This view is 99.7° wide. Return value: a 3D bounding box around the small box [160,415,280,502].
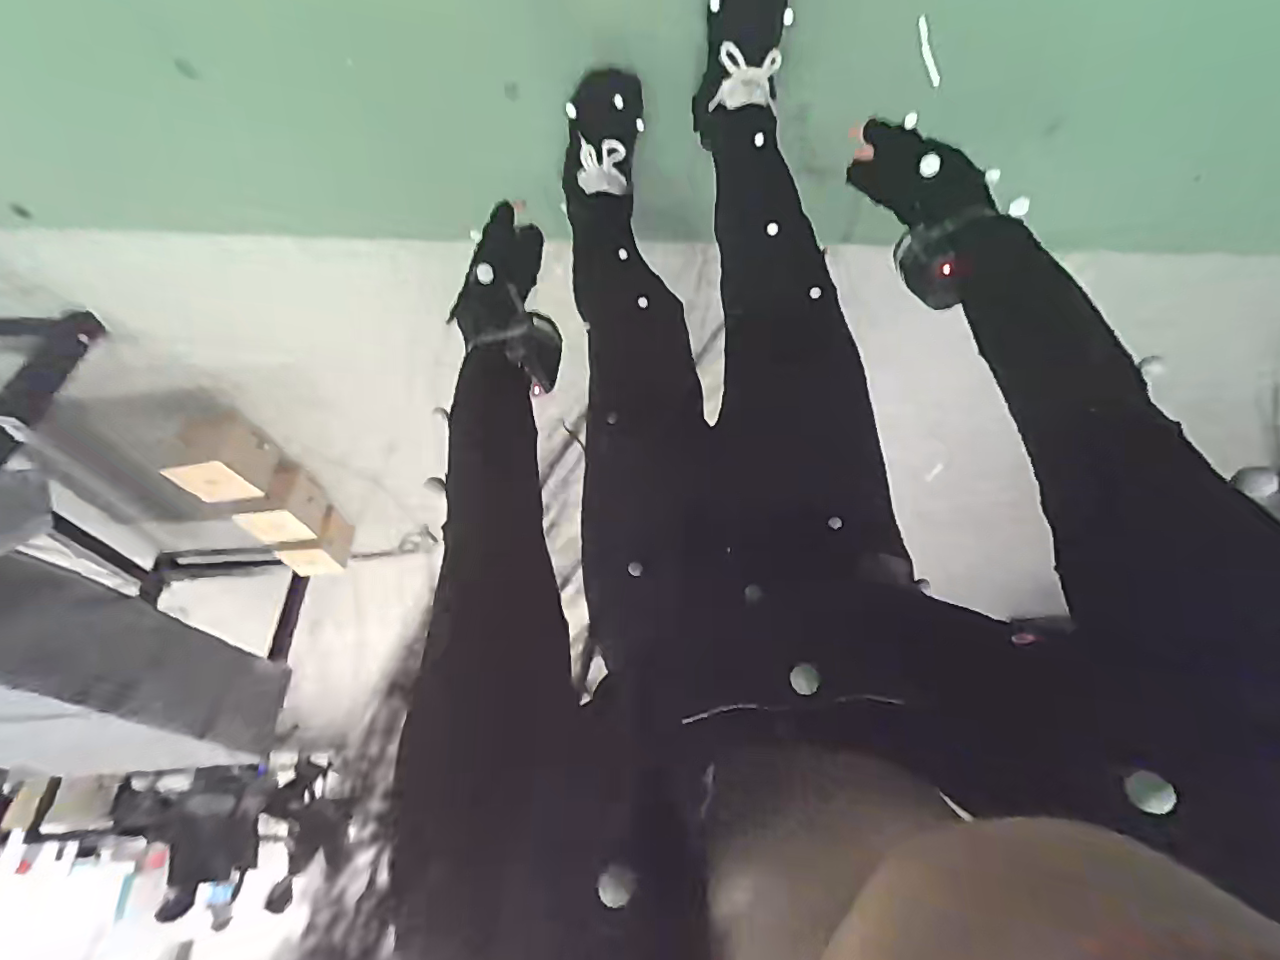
[{"bbox_3d":[-1.141,-0.059,1.486,0.179,0.176,0.168,-7,146,5],"label":"small box"}]
